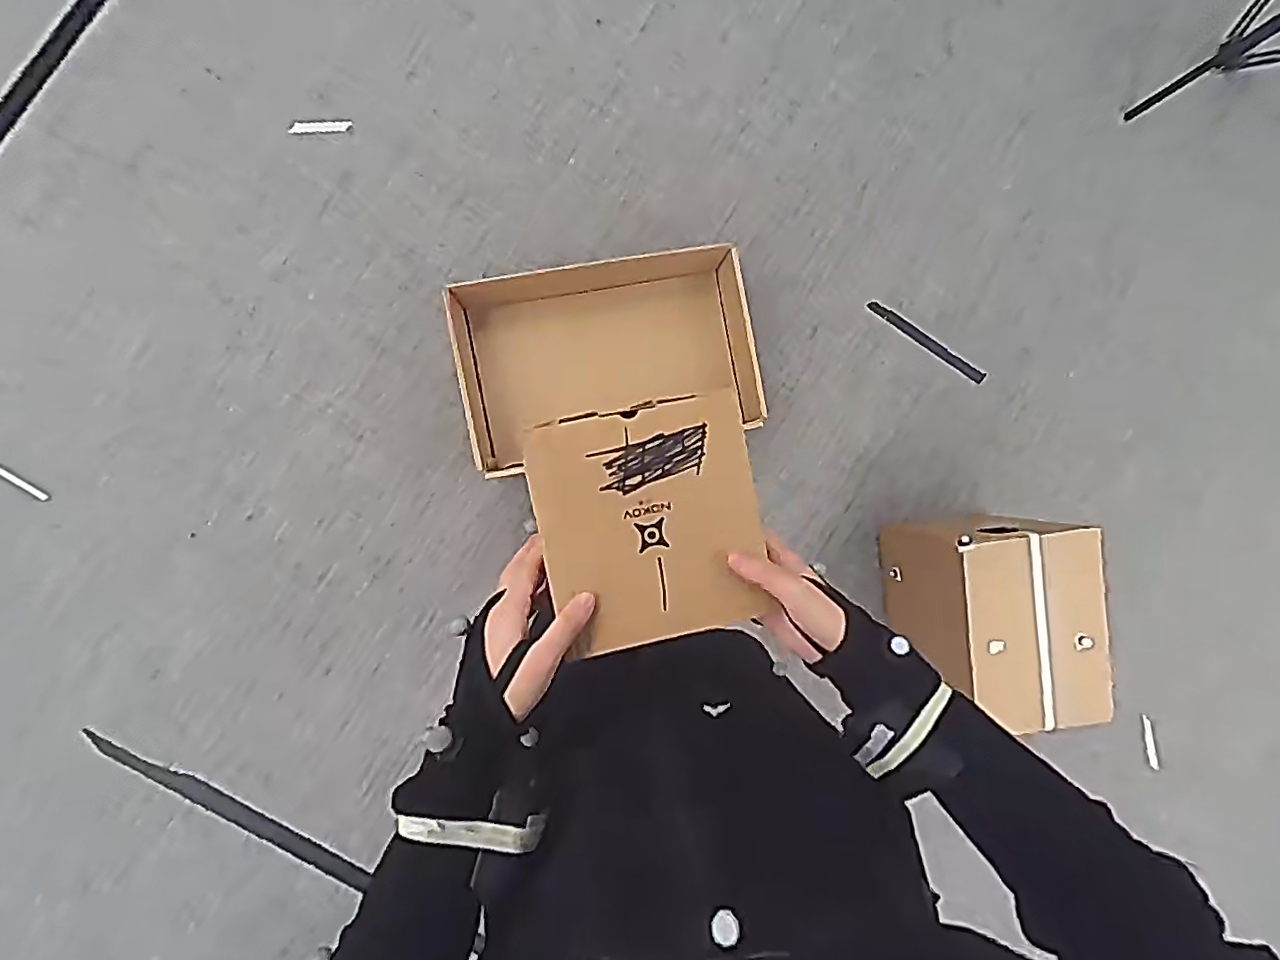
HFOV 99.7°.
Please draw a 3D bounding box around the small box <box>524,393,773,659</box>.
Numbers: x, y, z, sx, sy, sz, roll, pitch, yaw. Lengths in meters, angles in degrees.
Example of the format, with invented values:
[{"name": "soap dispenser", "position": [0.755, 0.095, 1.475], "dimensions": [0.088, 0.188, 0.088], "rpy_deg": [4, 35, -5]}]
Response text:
[{"name": "small box", "position": [-0.001, 0.032, 0.481], "dimensions": [0.168, 0.176, 0.179], "rpy_deg": [-11, 93, -5]}]
